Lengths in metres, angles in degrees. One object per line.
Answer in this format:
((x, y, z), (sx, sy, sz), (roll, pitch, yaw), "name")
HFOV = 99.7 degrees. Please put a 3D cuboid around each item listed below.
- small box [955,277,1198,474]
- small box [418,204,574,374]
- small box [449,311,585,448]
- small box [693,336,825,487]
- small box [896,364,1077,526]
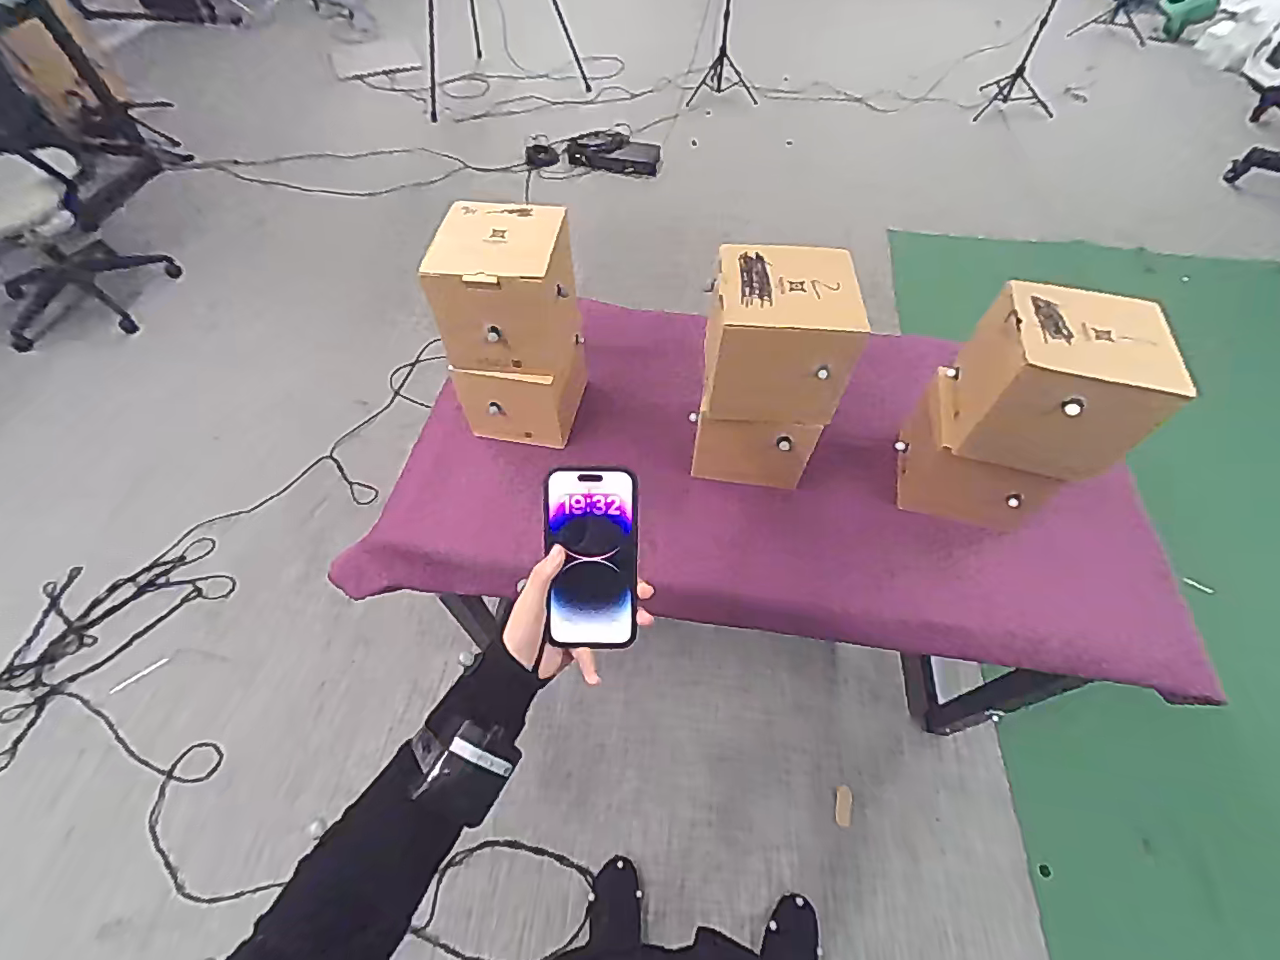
((0.525, -0.128, 0.690), (0.179, 0.176, 0.168), (13, 56, 9), "small box")
((-0.194, -0.276, 0.794), (0.168, 0.176, 0.179), (4, 56, 2), "small box")
((-0.195, -0.175, 0.924), (0.168, 0.176, 0.179), (8, 55, 6), "small box")
((0.187, -0.106, 0.873), (0.179, 0.176, 0.168), (8, 55, 6), "small box")
((0.519, -0.048, 0.833), (0.179, 0.176, 0.168), (13, 55, 9), "small box")
